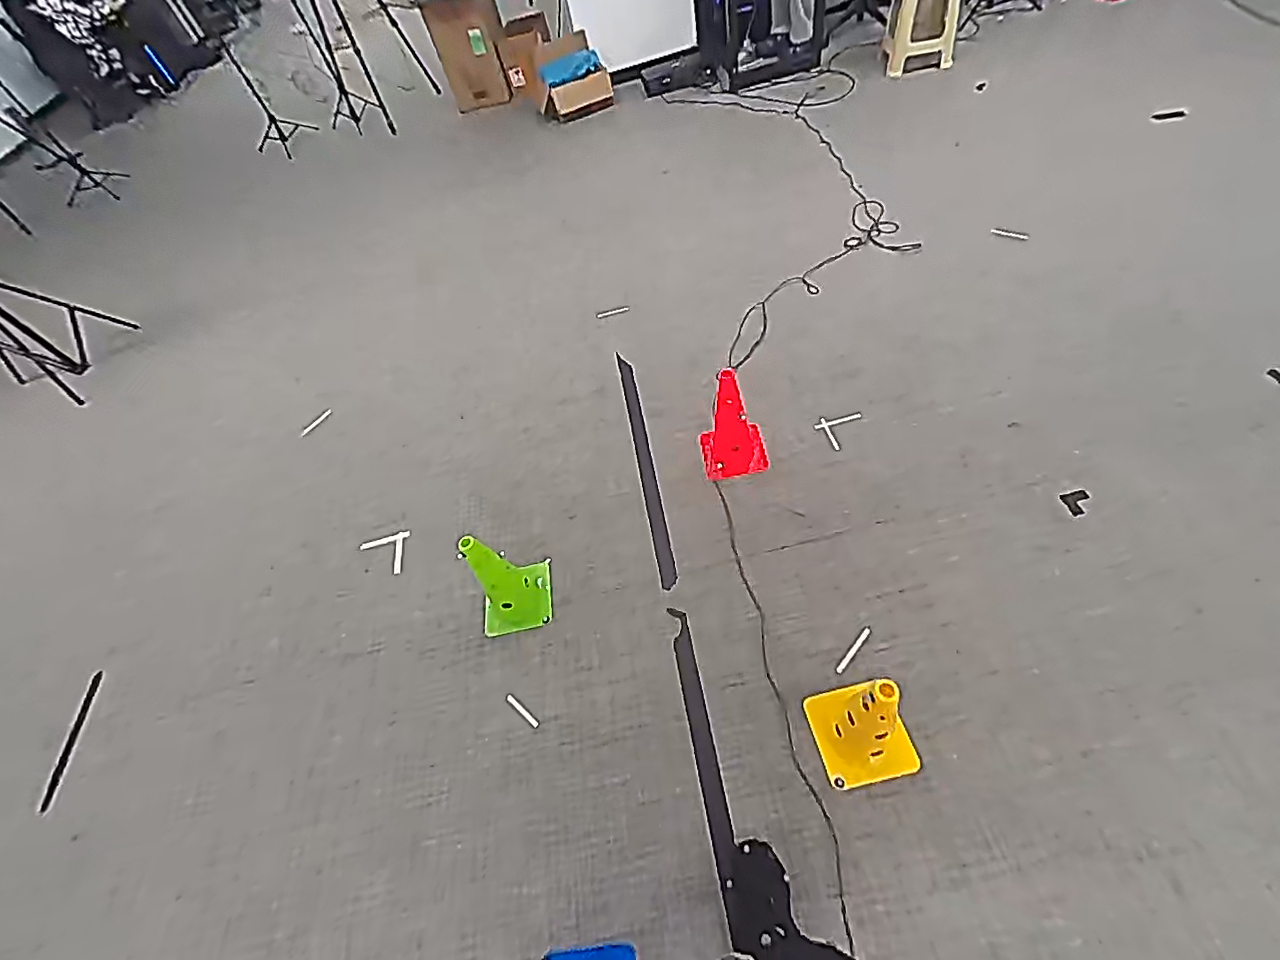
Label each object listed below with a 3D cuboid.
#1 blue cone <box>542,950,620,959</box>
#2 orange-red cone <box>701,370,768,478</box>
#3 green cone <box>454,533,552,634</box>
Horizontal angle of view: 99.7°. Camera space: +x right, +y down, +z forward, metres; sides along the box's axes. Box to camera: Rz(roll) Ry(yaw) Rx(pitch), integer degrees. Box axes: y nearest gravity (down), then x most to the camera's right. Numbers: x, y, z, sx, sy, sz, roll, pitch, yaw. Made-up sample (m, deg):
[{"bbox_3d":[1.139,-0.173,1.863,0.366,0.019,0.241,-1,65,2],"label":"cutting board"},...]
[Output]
[{"bbox_3d":[-0.145,0.940,0.913,0.192,0.380,0.193,-11,53,6],"label":"blue cone"},{"bbox_3d":[0.275,-0.191,1.622,0.199,0.360,0.198,-9,55,5],"label":"orange-red cone"},{"bbox_3d":[-0.395,0.243,1.458,0.202,0.368,0.200,-14,53,4],"label":"green cone"}]
